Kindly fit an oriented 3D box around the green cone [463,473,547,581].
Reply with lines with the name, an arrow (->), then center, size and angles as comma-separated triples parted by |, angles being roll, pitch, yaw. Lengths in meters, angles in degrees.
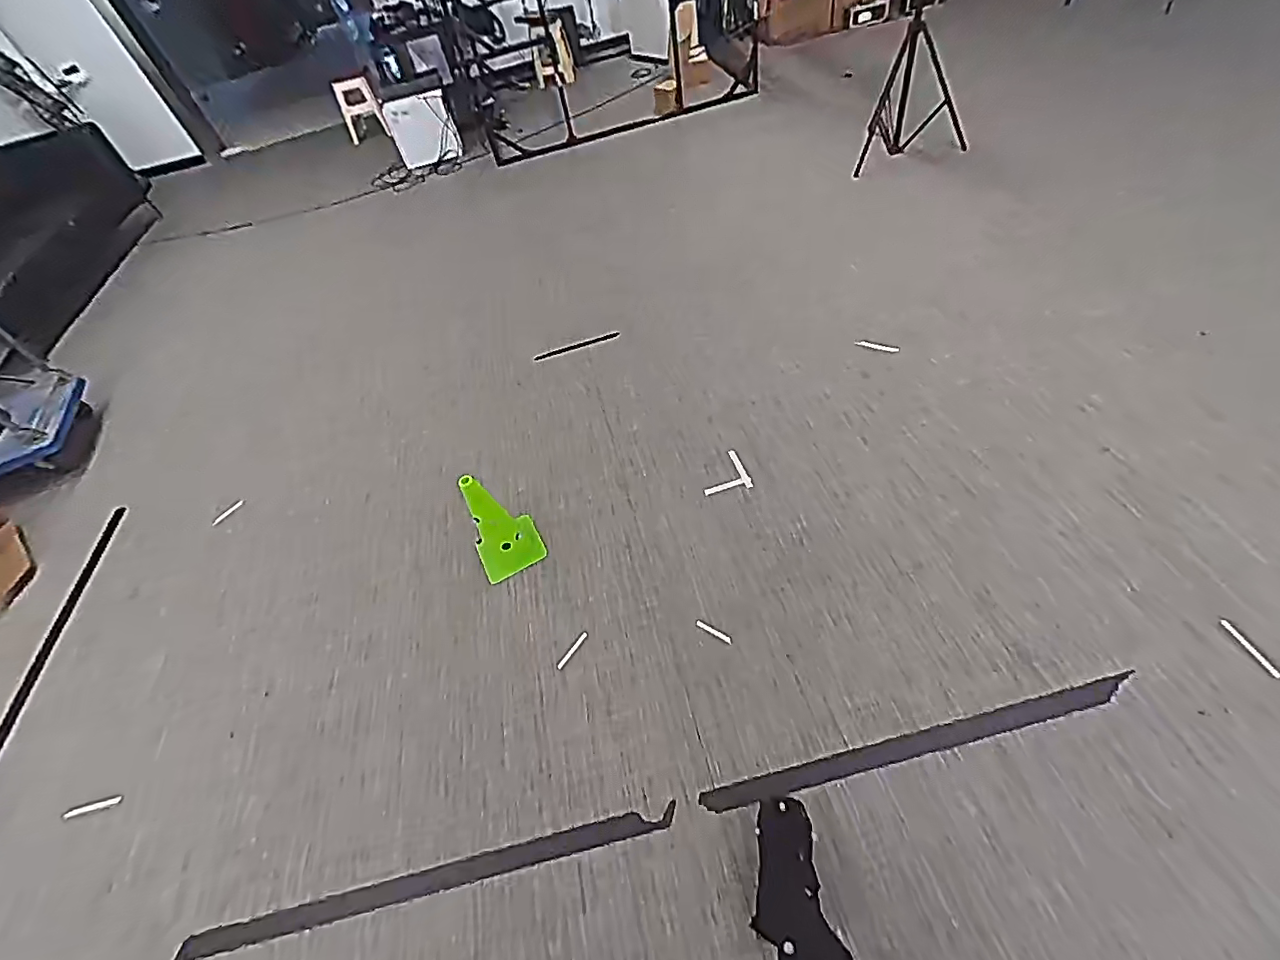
green cone -> -0.448, 0.111, 1.636 | 0.202, 0.368, 0.200 | -28, 51, -12
